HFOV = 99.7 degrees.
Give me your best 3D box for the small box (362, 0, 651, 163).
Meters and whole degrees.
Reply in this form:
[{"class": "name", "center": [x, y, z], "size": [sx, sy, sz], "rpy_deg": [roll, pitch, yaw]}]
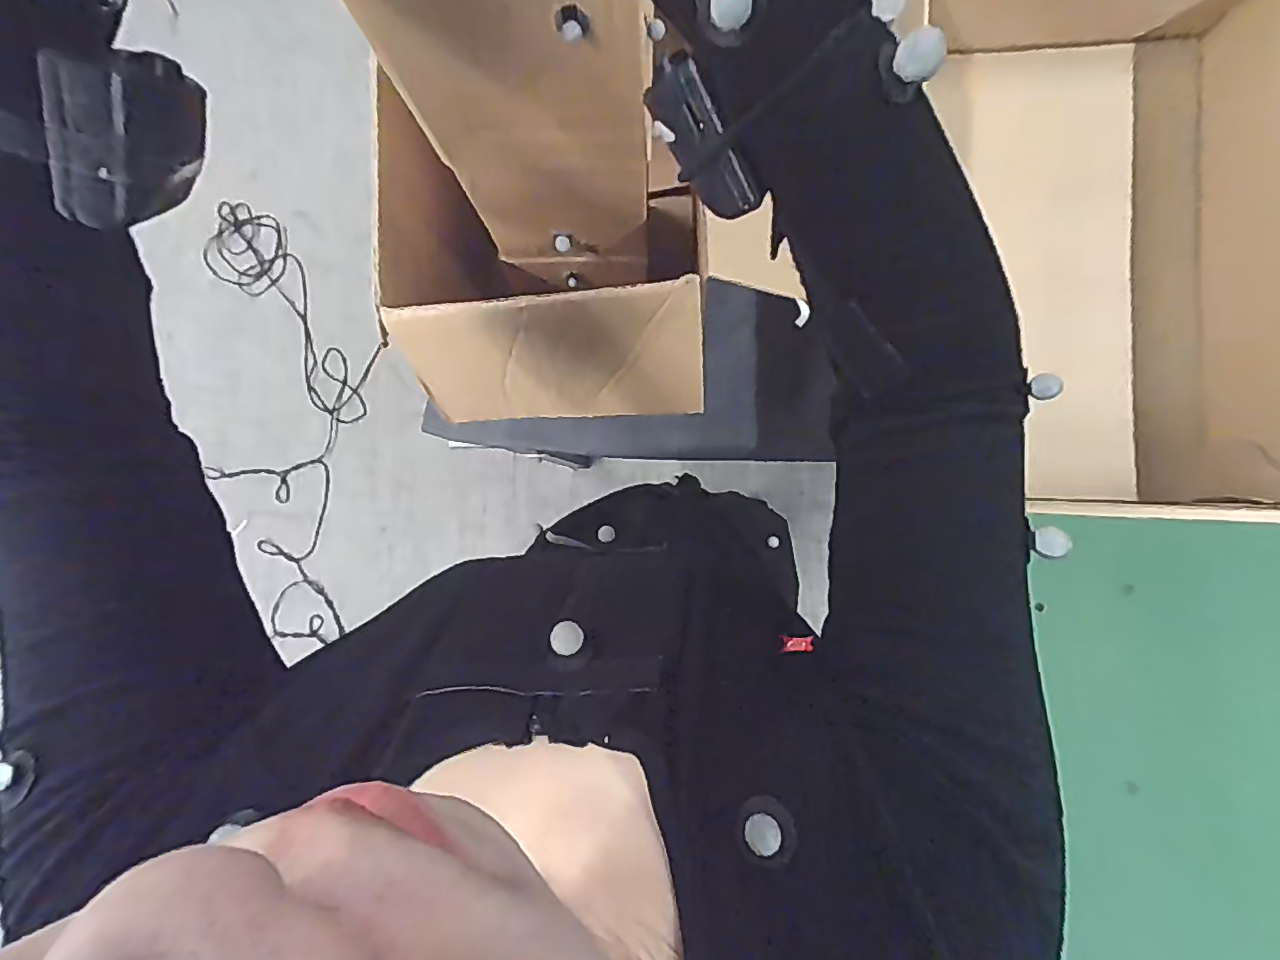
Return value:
[{"class": "small box", "center": [-0.082, -0.353, 0.381], "size": [0.179, 0.176, 0.168], "rpy_deg": [1, 87, 1]}]
